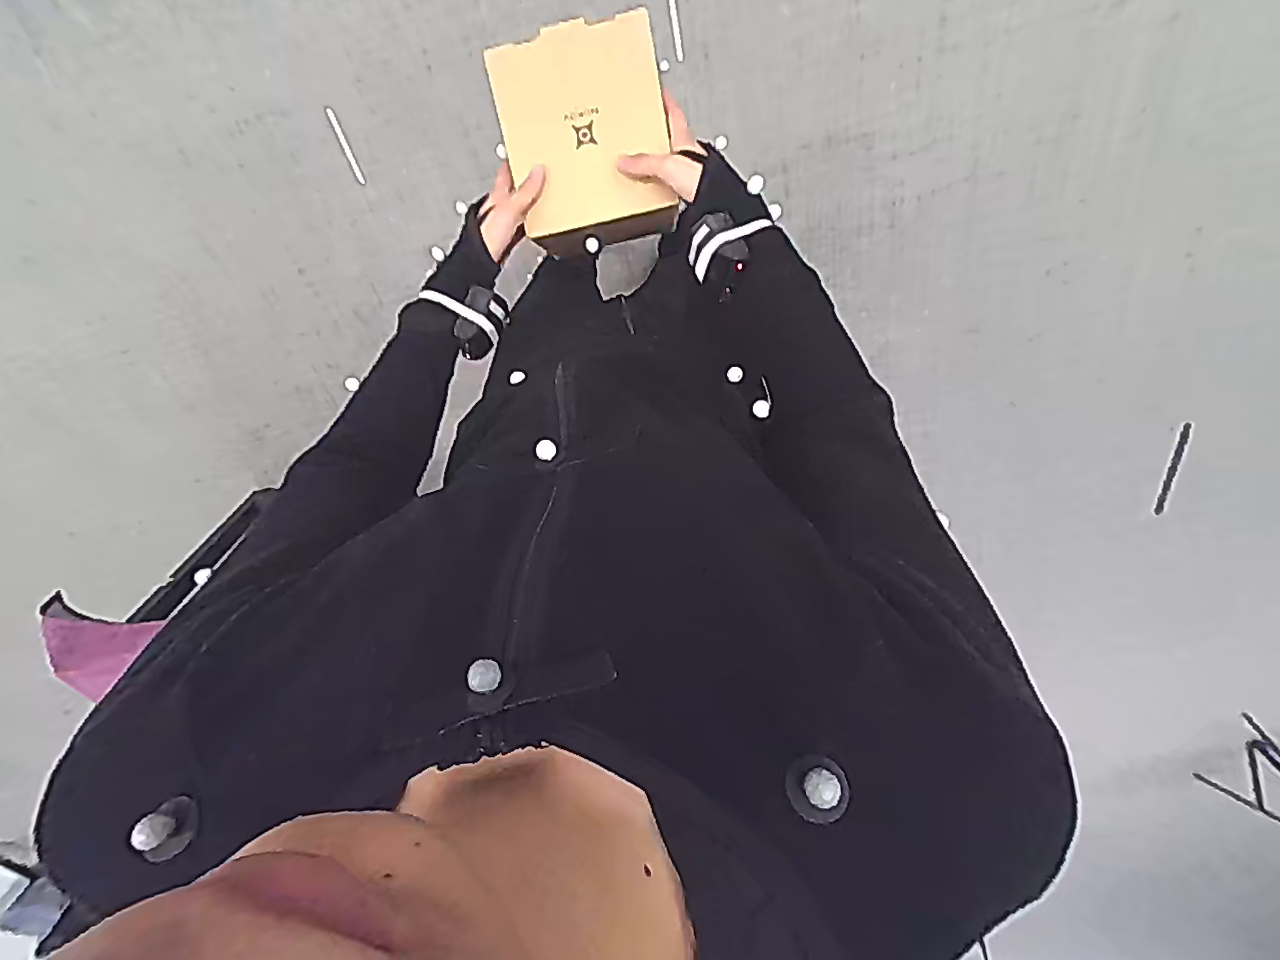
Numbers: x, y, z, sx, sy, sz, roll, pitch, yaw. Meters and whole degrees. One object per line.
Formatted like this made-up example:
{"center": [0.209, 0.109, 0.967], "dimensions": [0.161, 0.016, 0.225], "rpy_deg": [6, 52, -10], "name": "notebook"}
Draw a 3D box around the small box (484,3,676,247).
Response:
{"center": [-0.052, -0.373, 0.610], "dimensions": [0.168, 0.176, 0.179], "rpy_deg": [-10, 104, 5], "name": "small box"}
